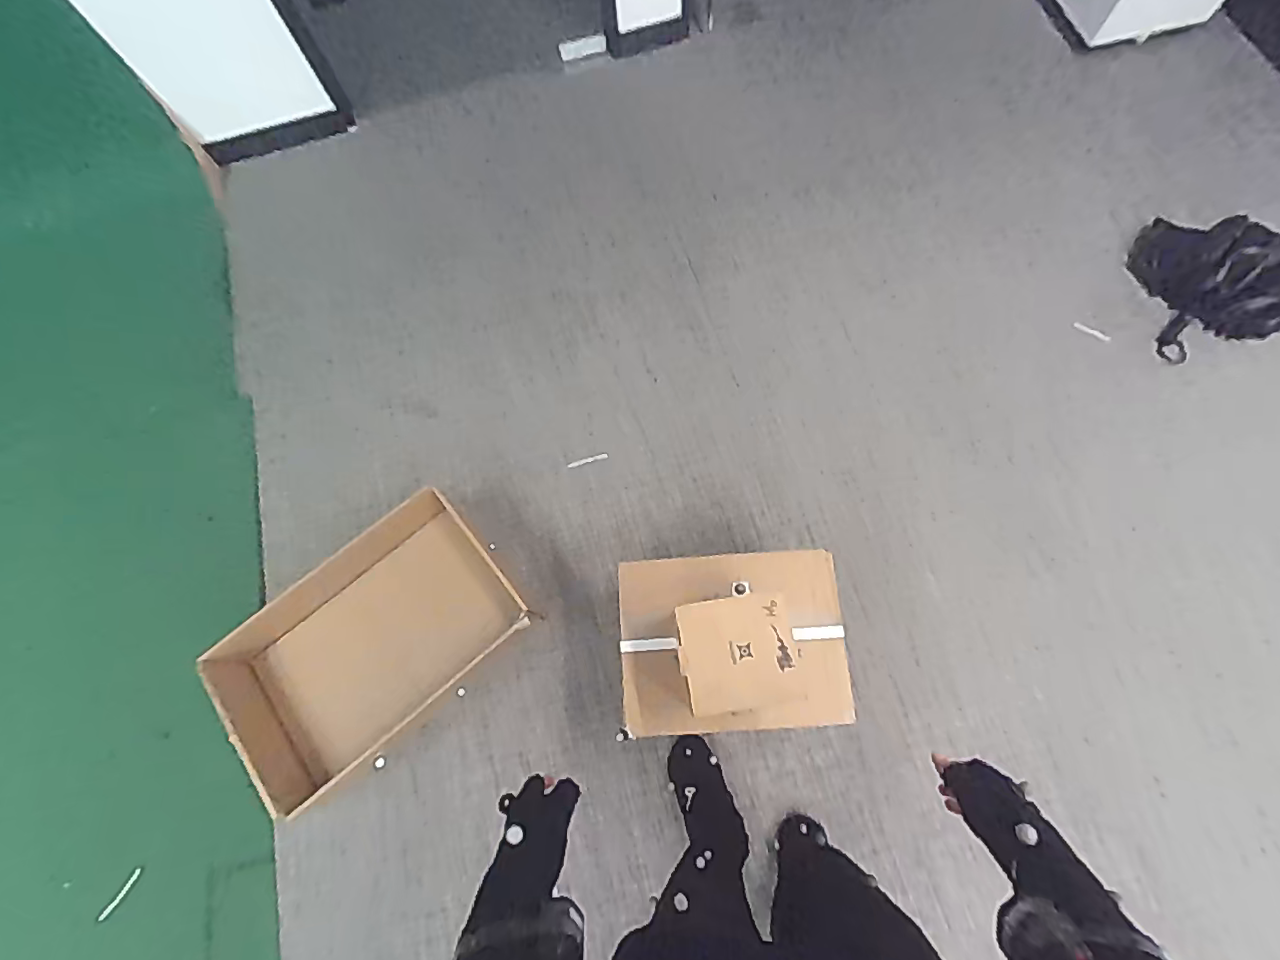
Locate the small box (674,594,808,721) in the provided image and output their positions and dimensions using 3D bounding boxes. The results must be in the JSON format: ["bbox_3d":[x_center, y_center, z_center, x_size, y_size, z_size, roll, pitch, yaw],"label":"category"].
[{"bbox_3d":[0.157,0.292,0.894,0.179,0.176,0.168,-10,72,1],"label":"small box"}]
